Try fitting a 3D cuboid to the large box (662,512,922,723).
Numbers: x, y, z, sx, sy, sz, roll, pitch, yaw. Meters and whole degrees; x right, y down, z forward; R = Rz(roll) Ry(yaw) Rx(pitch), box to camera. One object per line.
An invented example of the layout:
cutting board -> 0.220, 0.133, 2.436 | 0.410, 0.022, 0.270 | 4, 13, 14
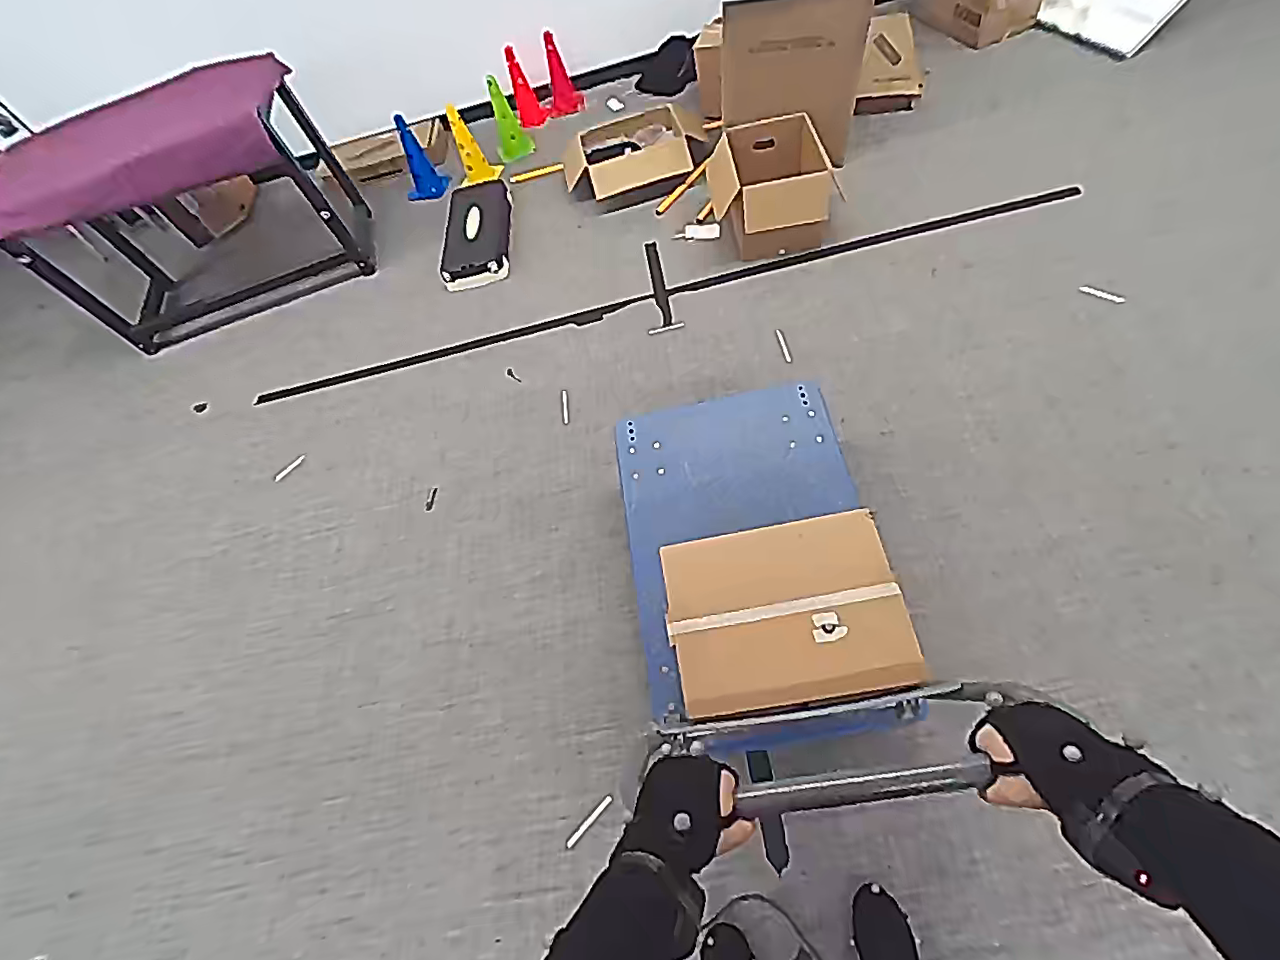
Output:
large box -> 0.280, 0.299, 1.114 | 0.408, 0.320, 0.320 | -11, 65, 4
